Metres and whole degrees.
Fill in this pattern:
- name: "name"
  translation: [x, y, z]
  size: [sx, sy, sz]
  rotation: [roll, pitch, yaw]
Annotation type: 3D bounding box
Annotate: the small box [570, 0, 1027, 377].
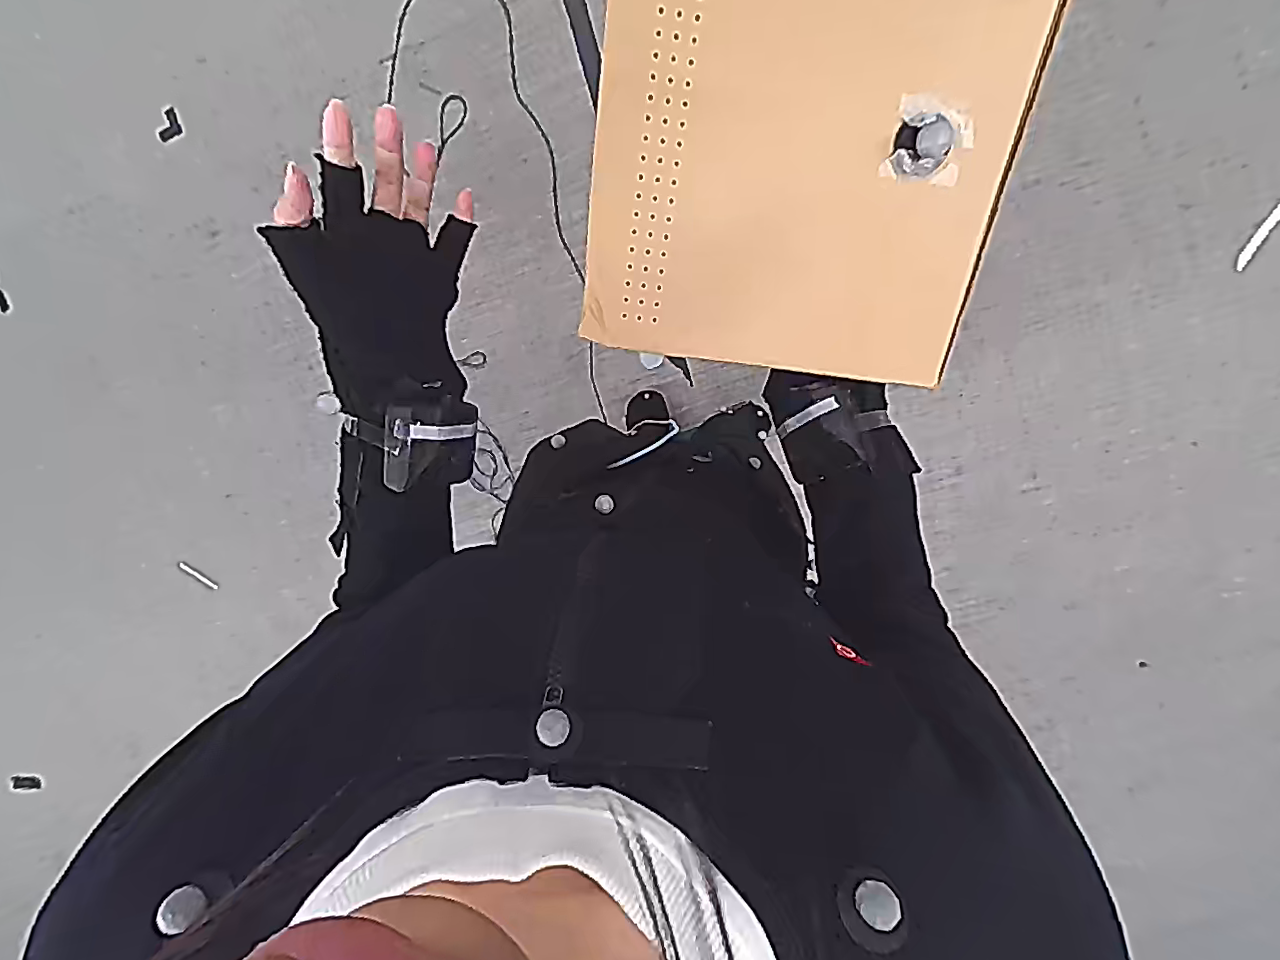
- name: "small box"
  translation: [0.052, -0.163, 0.292]
  size: [0.176, 0.168, 0.179]
  rotation: [6, 111, -6]
